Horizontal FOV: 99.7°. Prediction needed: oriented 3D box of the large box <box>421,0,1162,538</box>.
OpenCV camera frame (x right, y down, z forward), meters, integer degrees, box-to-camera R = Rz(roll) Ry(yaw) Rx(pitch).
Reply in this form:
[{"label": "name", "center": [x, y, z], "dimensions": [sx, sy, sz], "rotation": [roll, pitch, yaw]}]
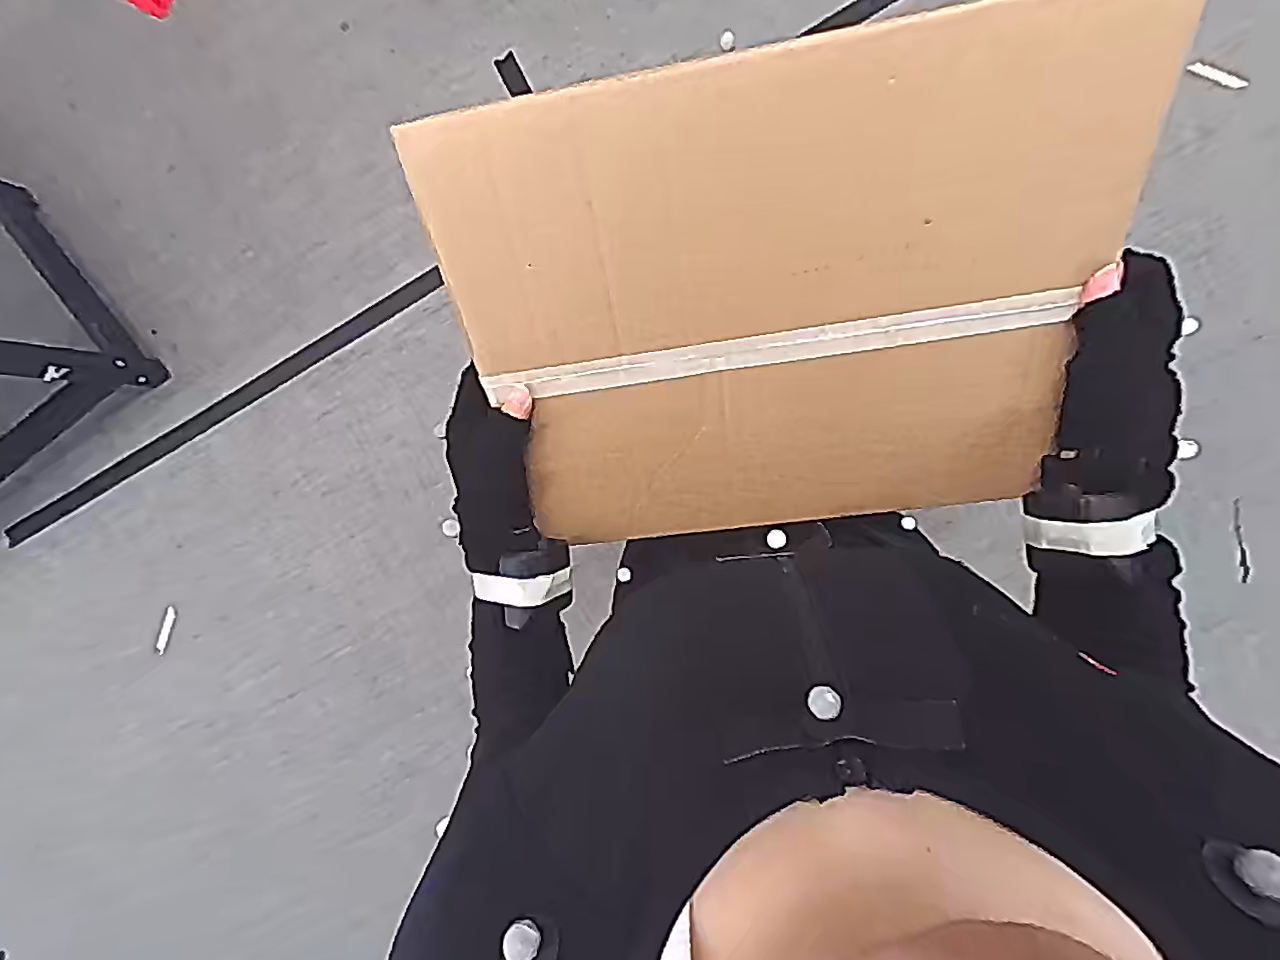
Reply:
[{"label": "large box", "center": [0.095, -0.182, 0.495], "dimensions": [0.408, 0.320, 0.320], "rotation": [-7, 126, 7]}]
